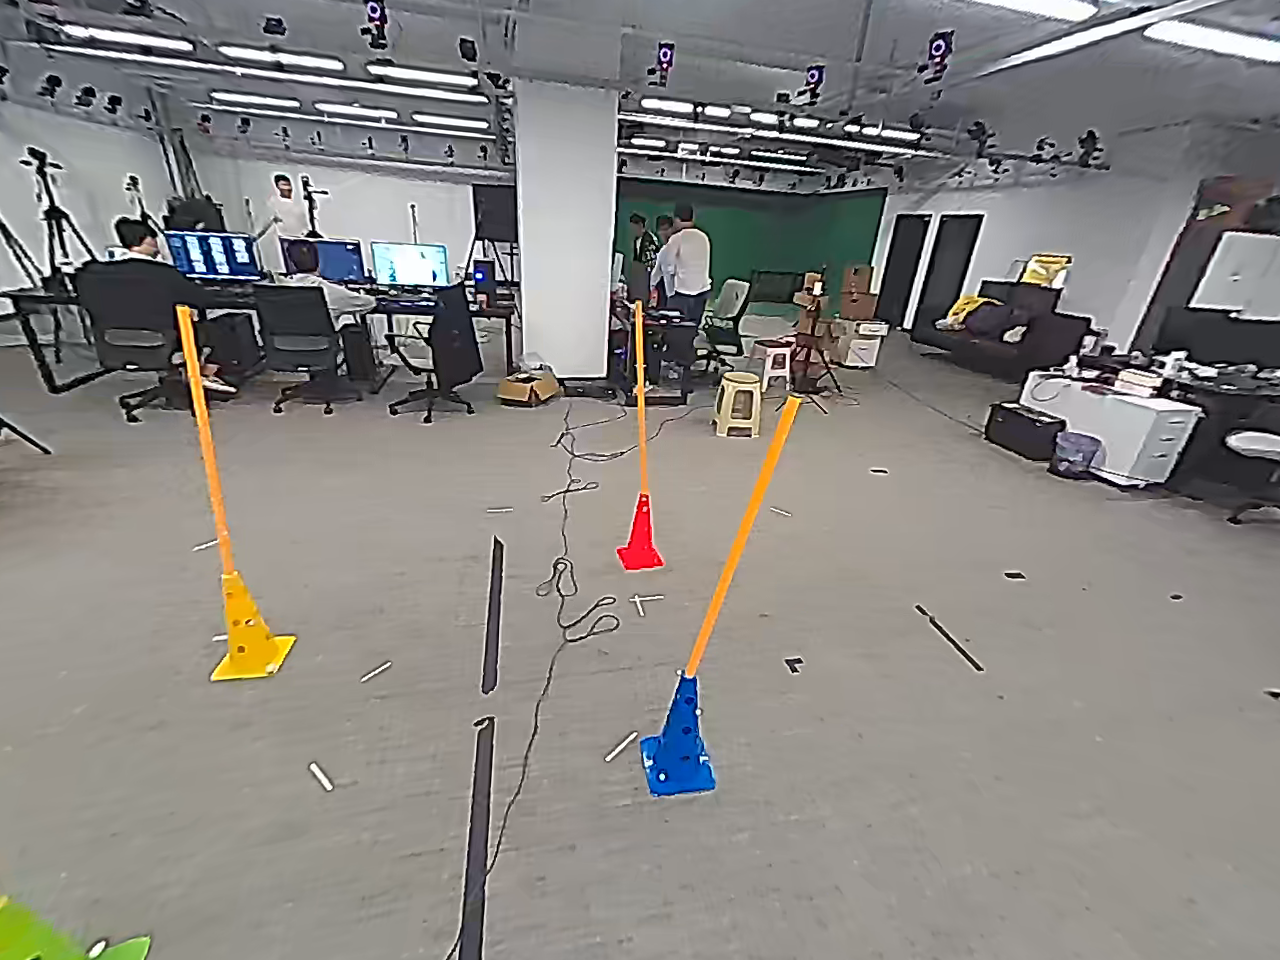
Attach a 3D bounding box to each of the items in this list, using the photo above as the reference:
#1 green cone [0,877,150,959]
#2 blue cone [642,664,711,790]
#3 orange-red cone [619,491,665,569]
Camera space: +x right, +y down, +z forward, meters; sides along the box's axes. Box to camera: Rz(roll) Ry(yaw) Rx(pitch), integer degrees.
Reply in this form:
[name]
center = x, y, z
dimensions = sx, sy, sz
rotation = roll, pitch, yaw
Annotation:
[green cone]
center = -1.103, 0.866, 0.990
dimensions = 0.200, 0.368, 0.202
rotation = -6, 24, -22
[blue cone]
center = 0.120, 0.699, 1.572
dimensions = 0.193, 0.380, 0.192
rotation = 0, 24, -9
[orange-red cone]
center = 0.017, 0.220, 2.569
dimensions = 0.199, 0.360, 0.198
rotation = -5, 25, -16
